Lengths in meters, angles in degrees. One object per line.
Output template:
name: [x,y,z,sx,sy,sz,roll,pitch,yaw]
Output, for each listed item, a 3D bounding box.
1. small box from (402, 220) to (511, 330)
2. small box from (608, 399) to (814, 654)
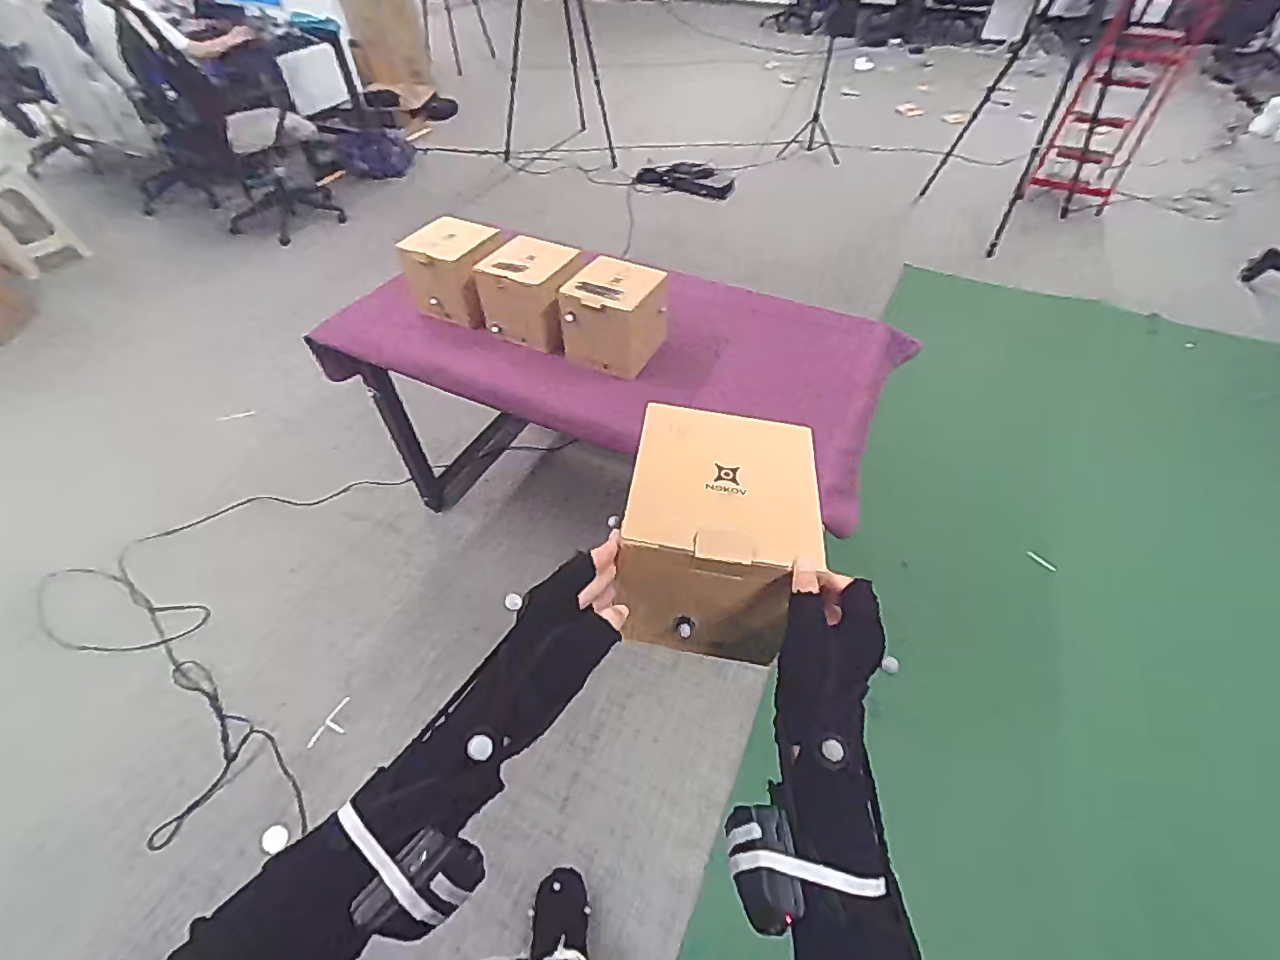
small box: [-0.427,-0.491,1.297,0.168,0.176,0.179,21,53,18]
small box: [0.063,0.048,0.547,0.168,0.176,0.179,9,48,2]
